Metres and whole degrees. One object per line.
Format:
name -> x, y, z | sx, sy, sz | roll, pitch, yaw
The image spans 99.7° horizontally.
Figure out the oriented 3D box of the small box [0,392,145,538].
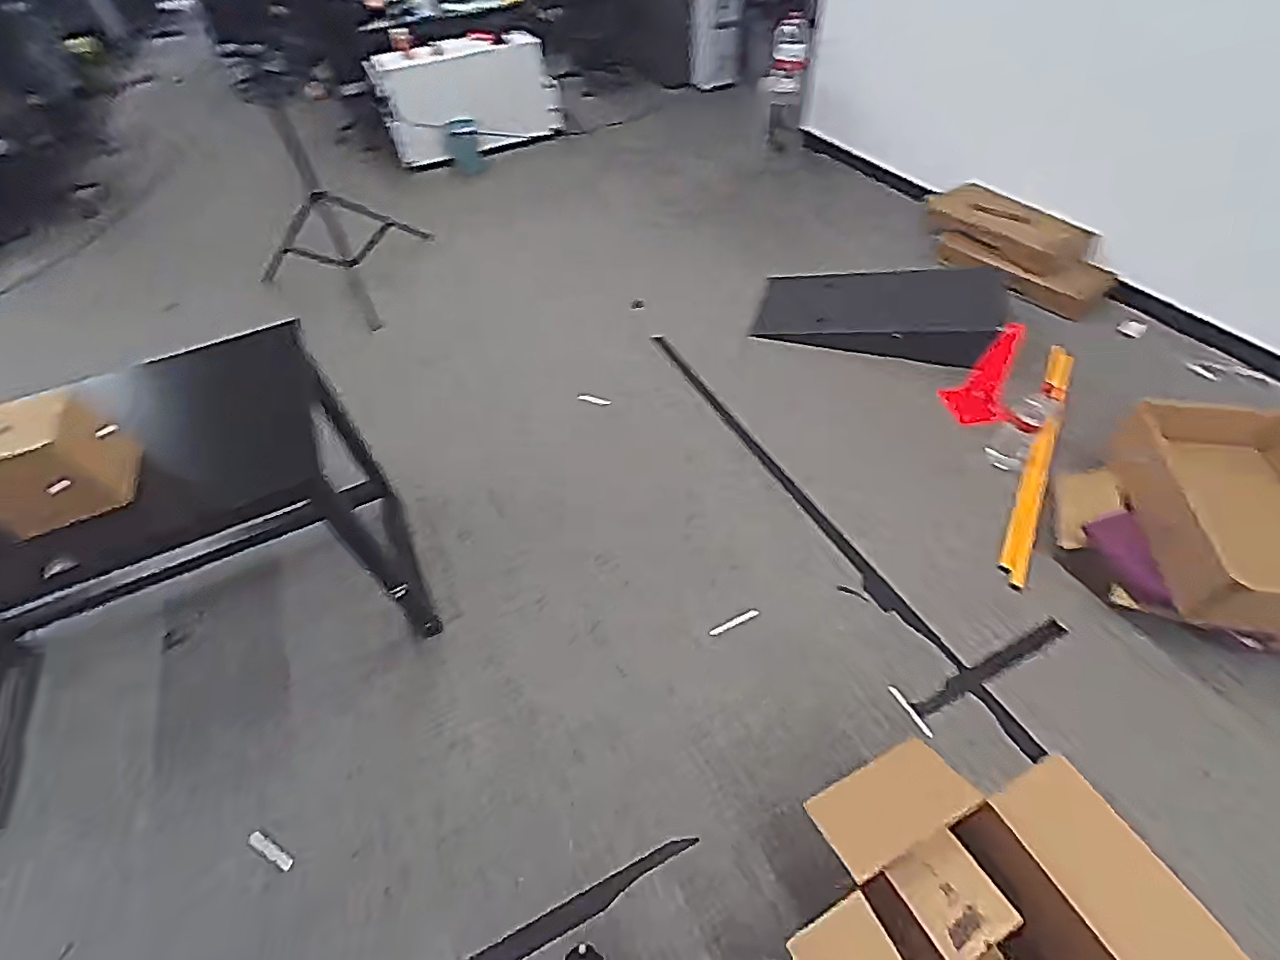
small box -> -1.064, -0.026, 0.986 | 0.179, 0.176, 0.168 | -23, 51, -13
